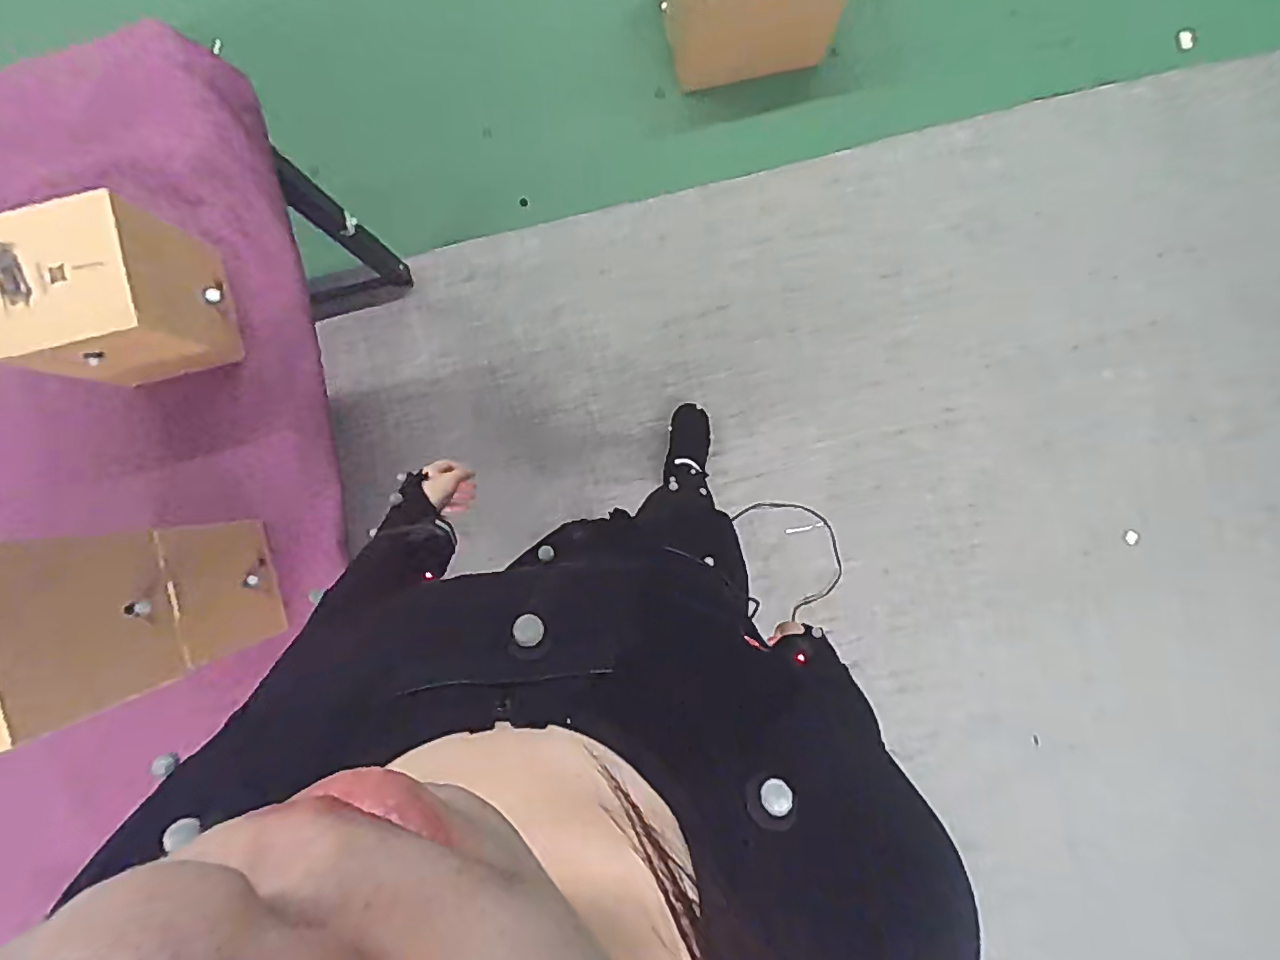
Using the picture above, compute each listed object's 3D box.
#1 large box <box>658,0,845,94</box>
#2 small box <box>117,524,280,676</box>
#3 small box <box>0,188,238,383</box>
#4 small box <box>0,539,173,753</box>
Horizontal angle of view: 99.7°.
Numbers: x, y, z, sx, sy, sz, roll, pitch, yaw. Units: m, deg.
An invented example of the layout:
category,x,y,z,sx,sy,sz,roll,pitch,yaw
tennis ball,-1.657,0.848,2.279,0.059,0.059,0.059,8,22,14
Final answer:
category,x,y,z,sx,sy,sz,roll,pitch,yaw
large box,0.269,-1.253,1.349,0.408,0.320,0.320,-12,90,0
small box,-0.609,0.159,0.685,0.179,0.176,0.168,-15,90,2
small box,-0.671,-0.231,0.690,0.179,0.176,0.168,-13,90,1
small box,-0.612,0.159,0.521,0.168,0.176,0.179,-15,89,3
